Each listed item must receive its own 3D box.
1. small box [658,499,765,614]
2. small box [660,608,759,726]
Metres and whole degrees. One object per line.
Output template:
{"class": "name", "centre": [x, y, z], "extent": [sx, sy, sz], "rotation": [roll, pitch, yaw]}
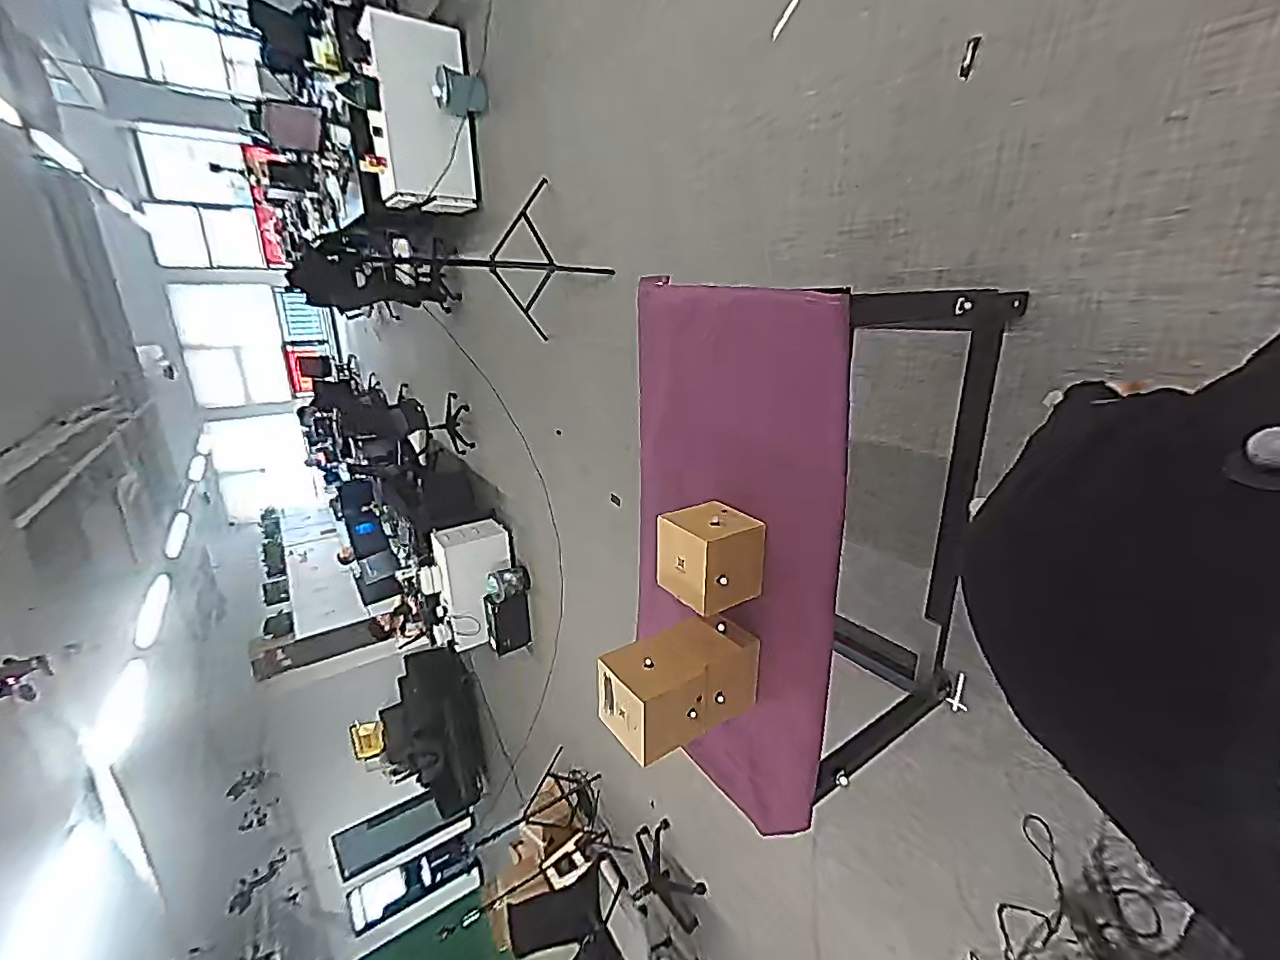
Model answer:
{"class": "small box", "centre": [0.156, 0.156, 1.184], "extent": [0.168, 0.176, 0.179], "rotation": [26, 123, 51]}
{"class": "small box", "centre": [0.162, 0.428, 1.269], "extent": [0.168, 0.176, 0.179], "rotation": [25, 121, 51]}
